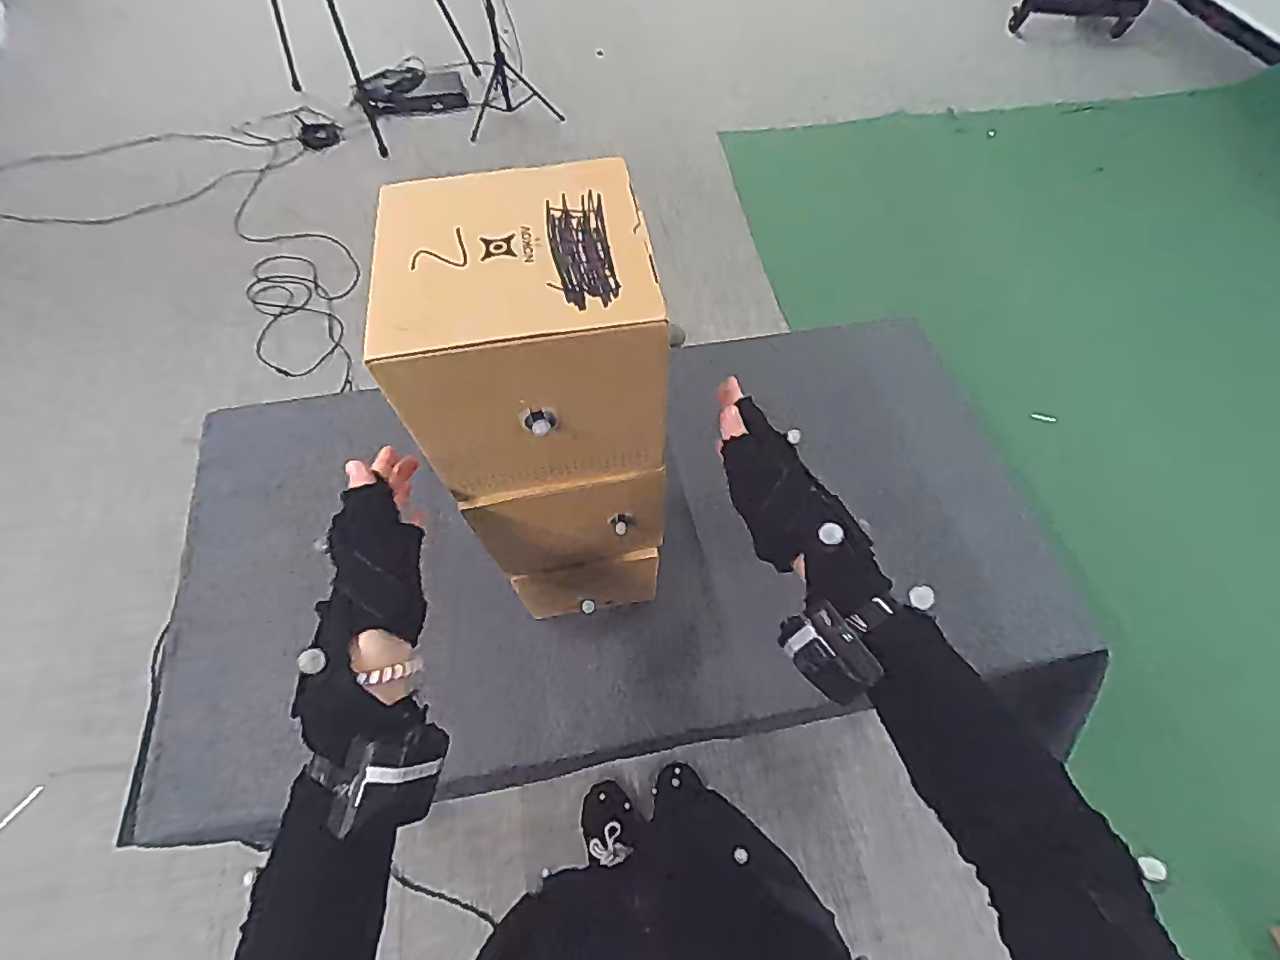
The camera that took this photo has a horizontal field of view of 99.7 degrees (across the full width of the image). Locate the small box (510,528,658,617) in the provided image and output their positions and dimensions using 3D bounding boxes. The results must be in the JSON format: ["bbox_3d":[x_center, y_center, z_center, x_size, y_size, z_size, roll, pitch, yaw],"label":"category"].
[{"bbox_3d":[-0.074,0.060,0.698,0.168,0.176,0.179,-8,61,-4],"label":"small box"}]

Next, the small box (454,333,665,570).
[{"bbox_3d":[-0.079,-0.023,0.557,0.179,0.176,0.168,-10,60,-5],"label":"small box"}]
